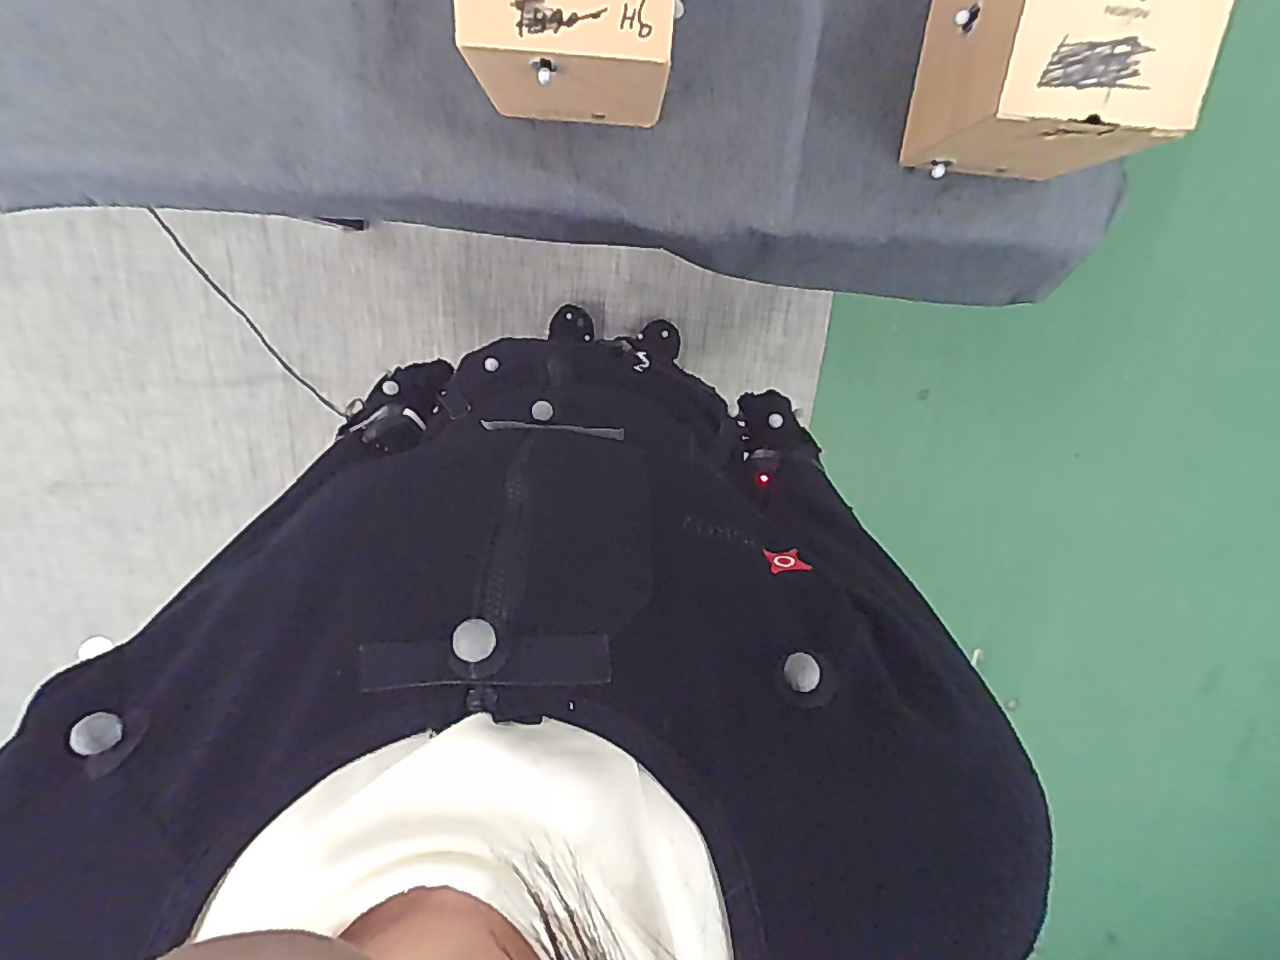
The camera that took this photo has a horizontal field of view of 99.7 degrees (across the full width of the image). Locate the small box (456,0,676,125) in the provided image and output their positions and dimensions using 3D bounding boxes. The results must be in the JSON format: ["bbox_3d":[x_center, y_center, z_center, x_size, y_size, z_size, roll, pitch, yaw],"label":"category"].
[{"bbox_3d":[-0.055,-0.437,0.464,0.168,0.176,0.179,3,108,-3],"label":"small box"}]

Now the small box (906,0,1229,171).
[{"bbox_3d":[0.370,-0.399,0.490,0.168,0.176,0.179,4,107,-3],"label":"small box"}]
